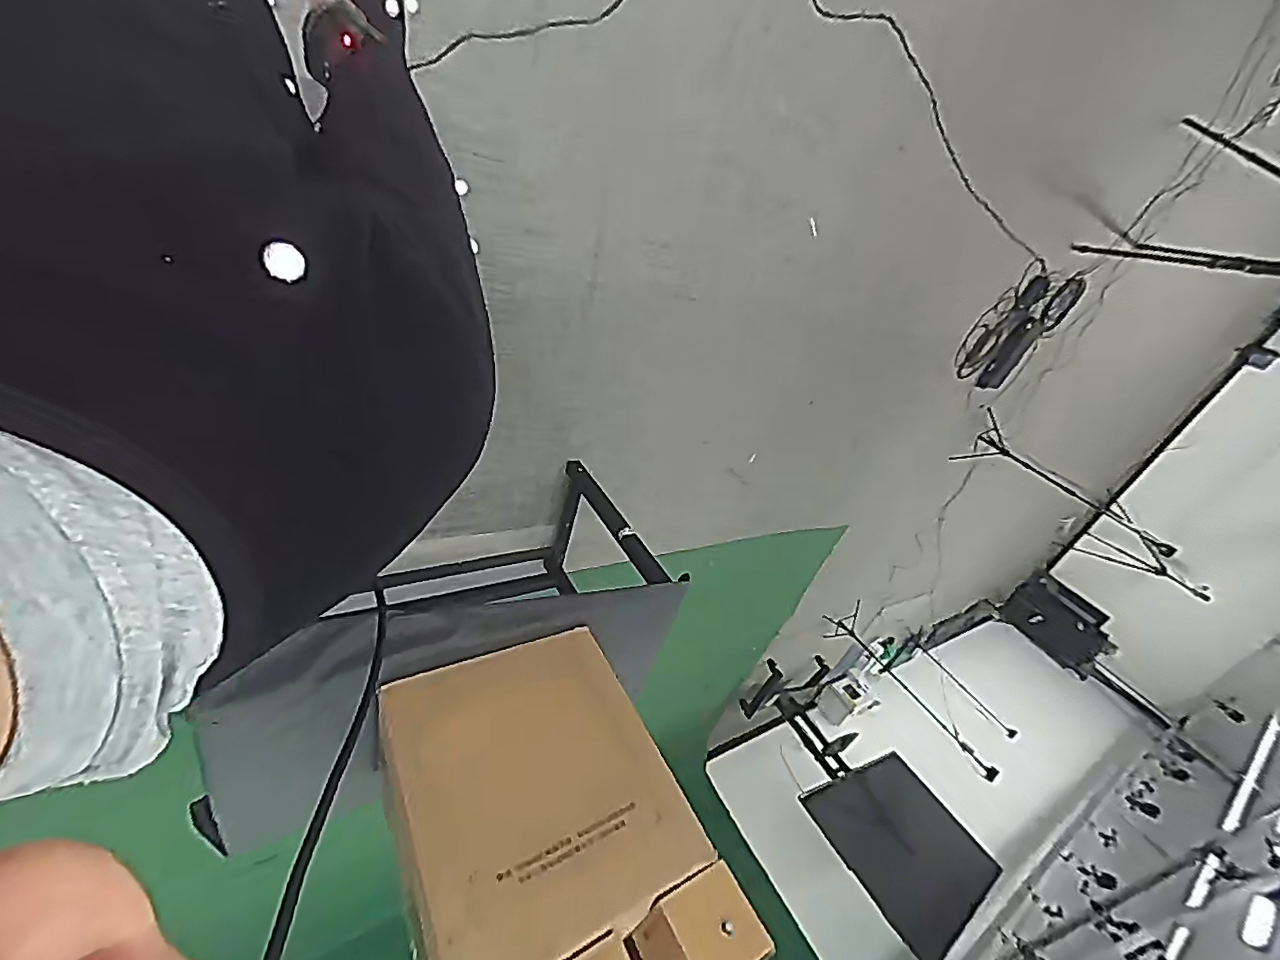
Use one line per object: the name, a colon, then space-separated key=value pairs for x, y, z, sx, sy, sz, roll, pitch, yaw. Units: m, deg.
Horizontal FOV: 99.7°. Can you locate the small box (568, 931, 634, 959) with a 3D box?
small box: x=-0.079 y=0.930 z=0.927 sx=0.168 sy=0.176 sz=0.179 roll=-8 pitch=129 yaw=-34

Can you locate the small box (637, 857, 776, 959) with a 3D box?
small box: x=0.126 y=0.895 z=1.064 sx=0.179 sy=0.176 sz=0.168 roll=-5 pitch=128 yaw=-38
